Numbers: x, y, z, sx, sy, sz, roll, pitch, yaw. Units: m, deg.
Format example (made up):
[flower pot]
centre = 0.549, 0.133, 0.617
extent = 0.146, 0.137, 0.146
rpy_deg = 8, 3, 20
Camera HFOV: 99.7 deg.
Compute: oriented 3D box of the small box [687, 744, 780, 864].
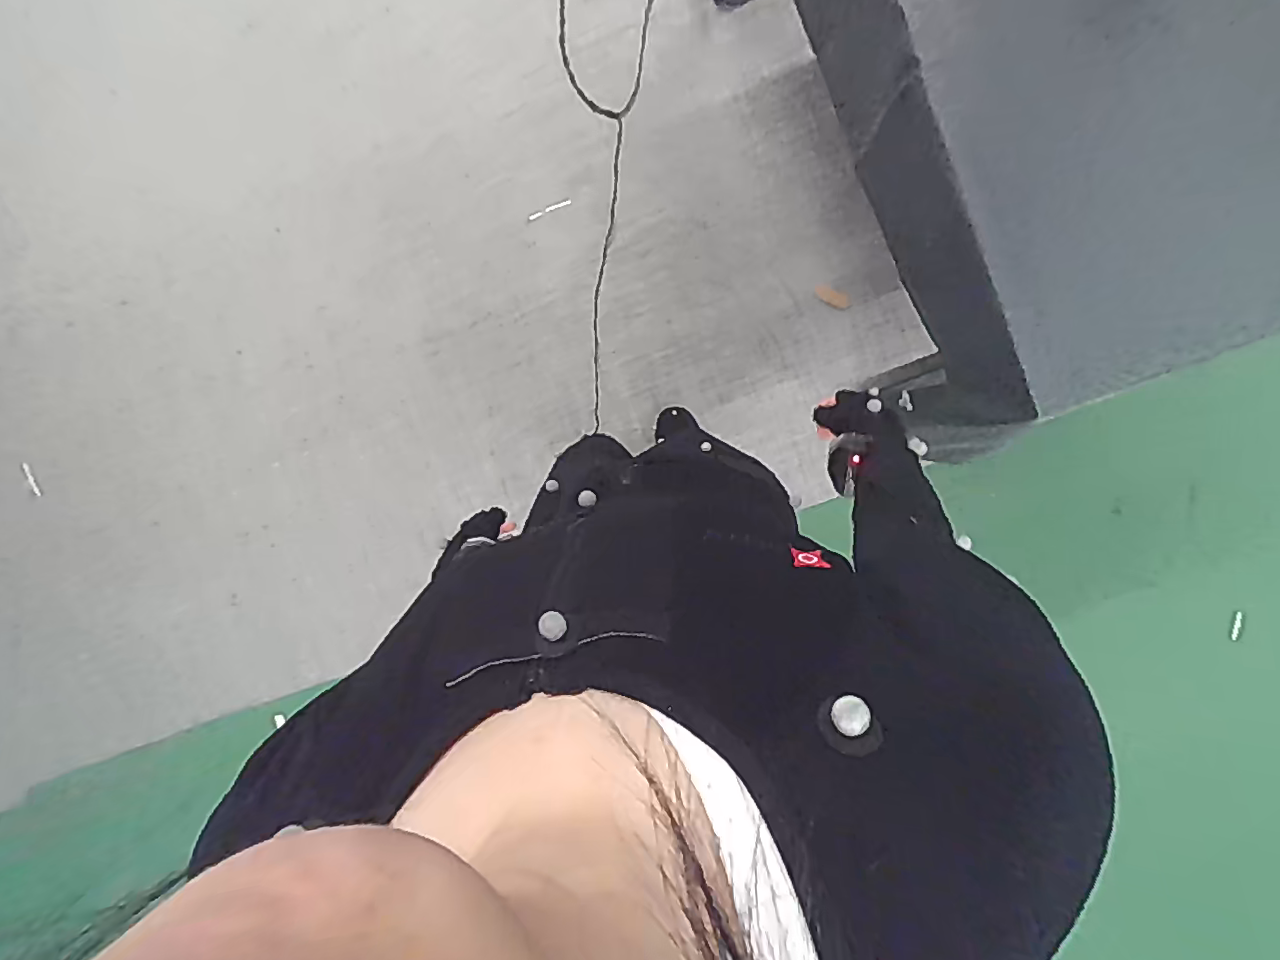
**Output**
[small box]
centre = 0.218, 0.767, 1.299
extent = 0.179, 0.176, 0.168
rpy_deg = -17, 94, 6
